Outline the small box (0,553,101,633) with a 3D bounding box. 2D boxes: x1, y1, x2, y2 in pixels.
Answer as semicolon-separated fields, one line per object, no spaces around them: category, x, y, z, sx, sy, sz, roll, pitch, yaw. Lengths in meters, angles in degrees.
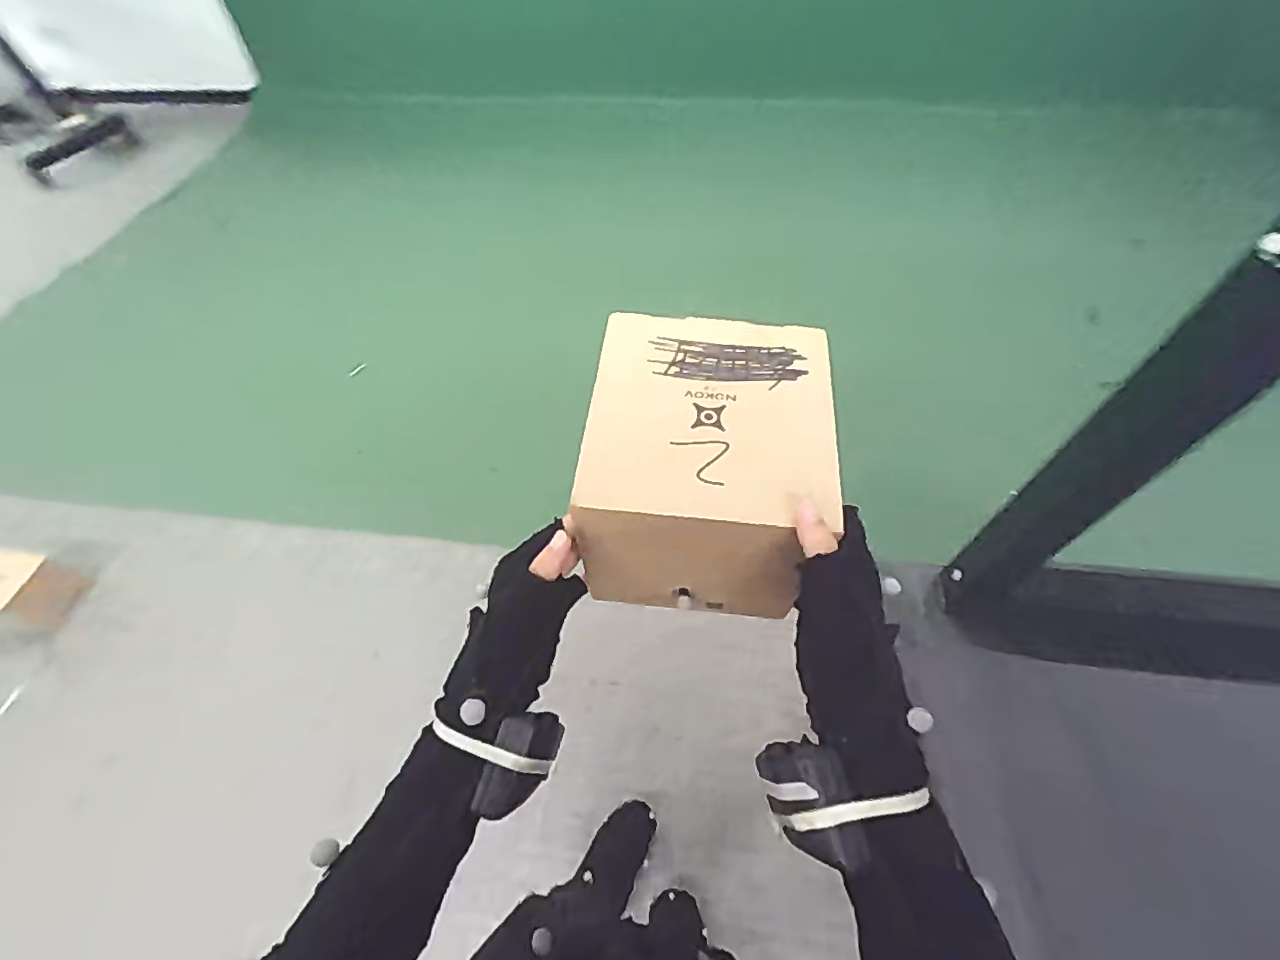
small box;-1.741;0.329;1.556;0.179;0.176;0.168;6;55;7
